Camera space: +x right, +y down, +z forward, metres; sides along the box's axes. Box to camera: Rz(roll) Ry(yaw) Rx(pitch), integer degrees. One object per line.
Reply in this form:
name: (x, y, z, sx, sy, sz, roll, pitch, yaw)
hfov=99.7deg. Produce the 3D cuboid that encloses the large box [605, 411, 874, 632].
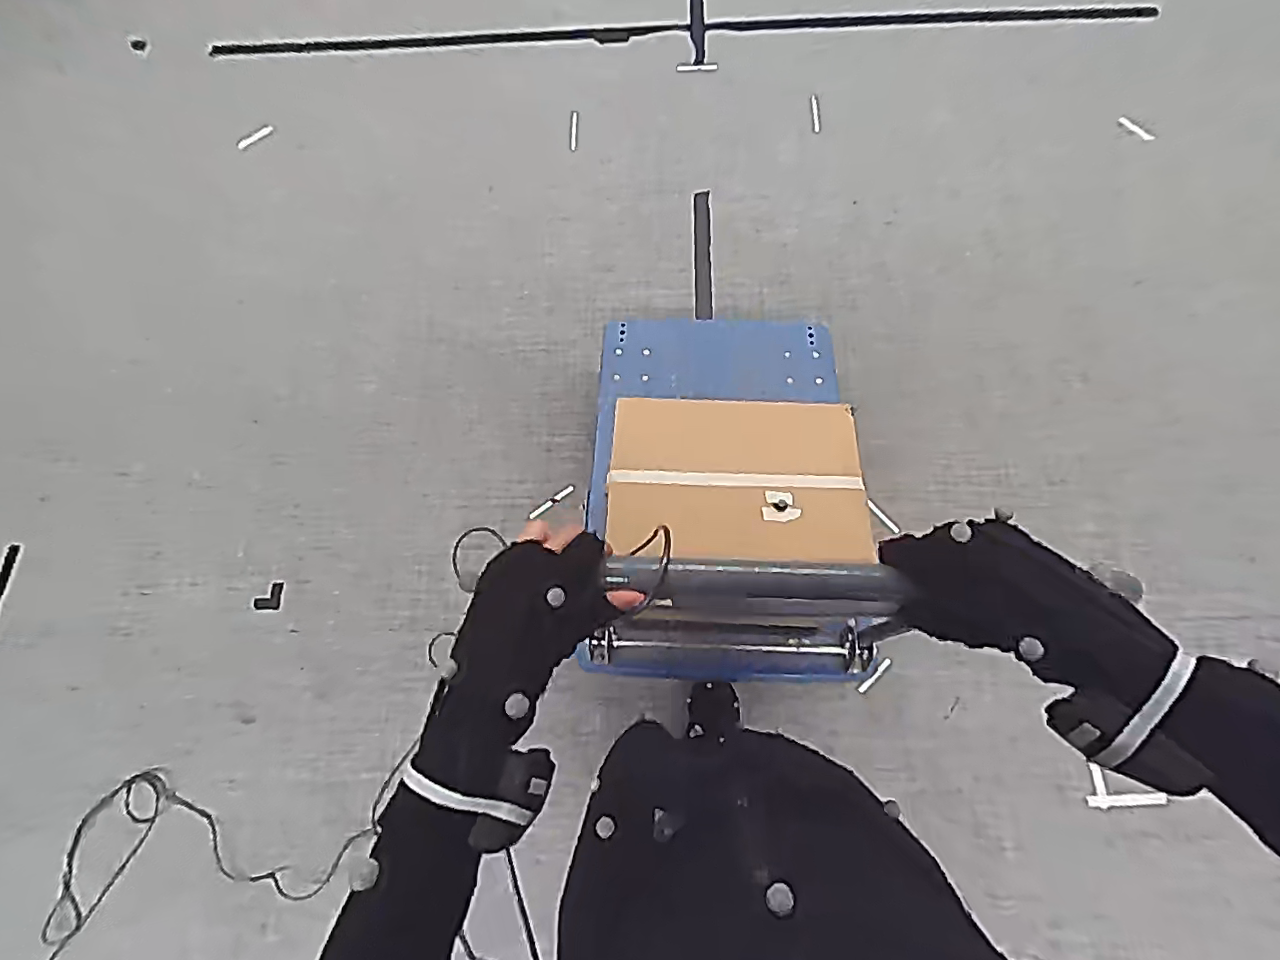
large box: (0.148, 0.089, 0.988, 0.408, 0.320, 0.320, 2, 63, 1)
